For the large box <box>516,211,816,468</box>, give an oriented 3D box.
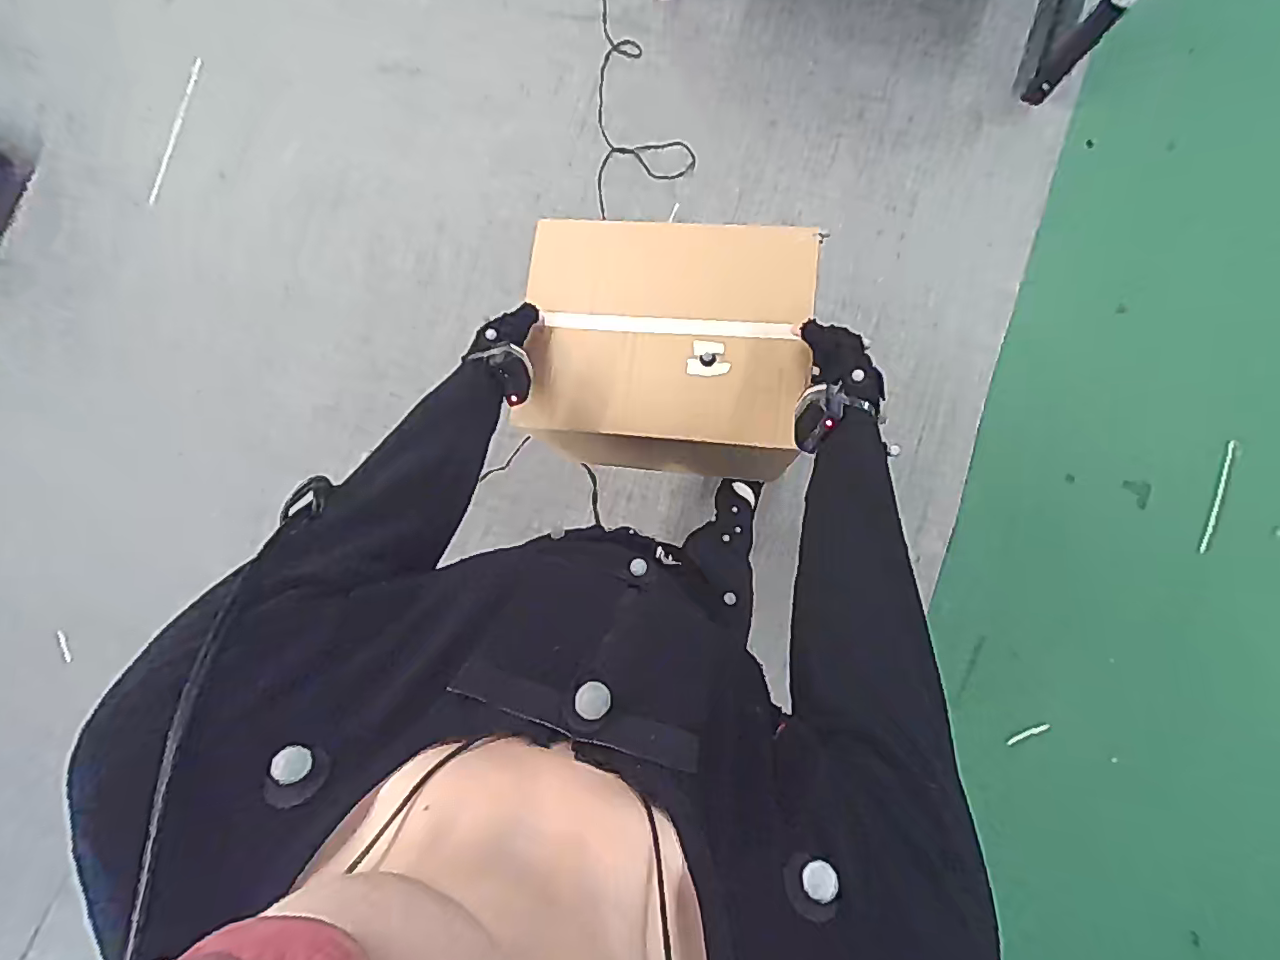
[{"bbox_3d":[0.046,-0.207,0.898,0.408,0.320,0.320,5,83,6],"label":"large box"}]
